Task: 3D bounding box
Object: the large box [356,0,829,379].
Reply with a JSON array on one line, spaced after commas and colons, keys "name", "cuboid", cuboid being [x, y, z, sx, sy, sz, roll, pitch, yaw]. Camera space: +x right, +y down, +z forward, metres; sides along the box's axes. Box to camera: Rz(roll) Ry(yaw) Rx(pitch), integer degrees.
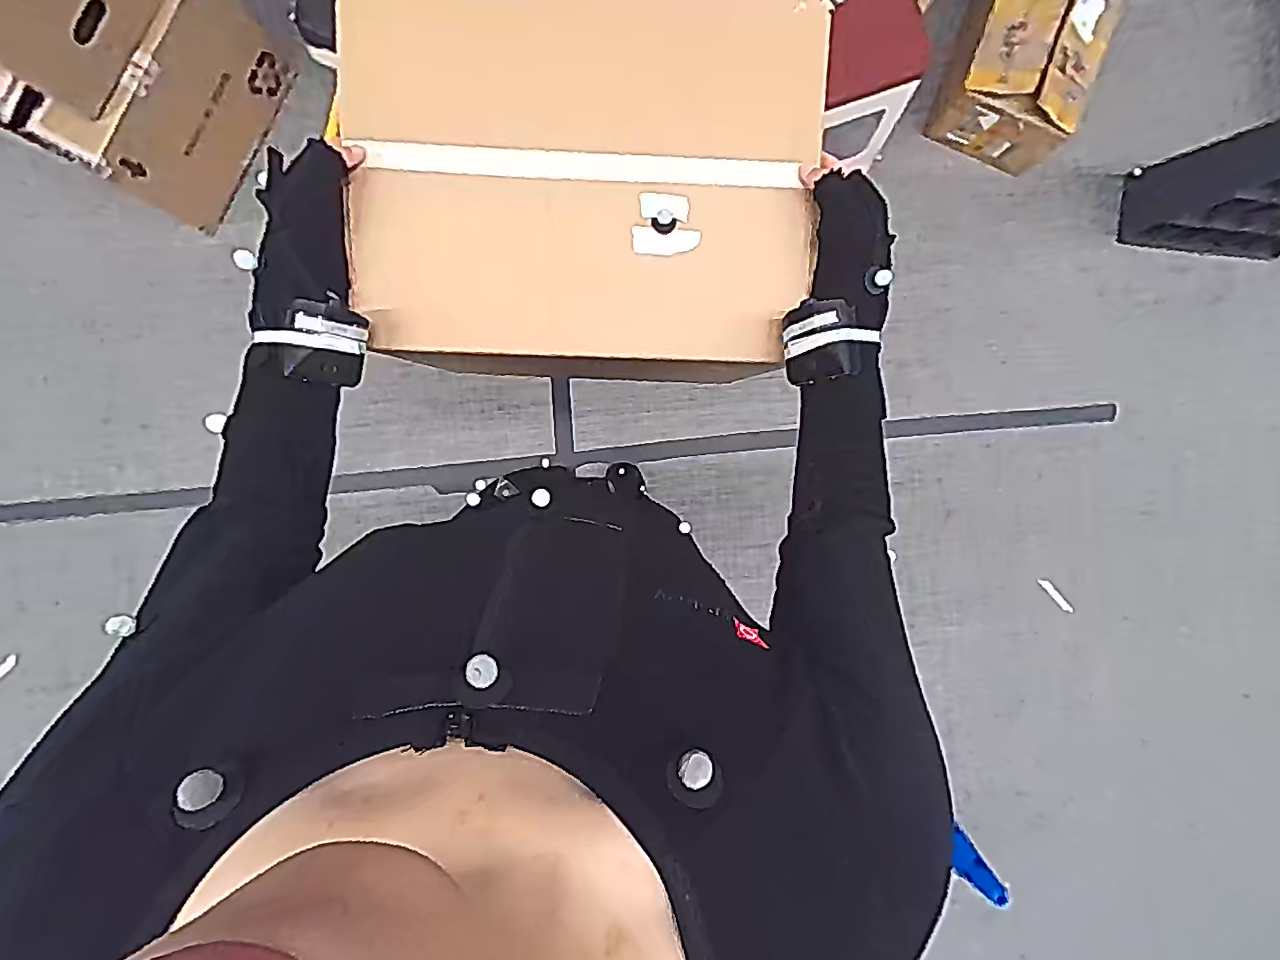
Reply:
[{"name": "large box", "cuboid": [-0.049, -0.285, 0.615, 0.408, 0.320, 0.320, 1, 97, -4]}]
